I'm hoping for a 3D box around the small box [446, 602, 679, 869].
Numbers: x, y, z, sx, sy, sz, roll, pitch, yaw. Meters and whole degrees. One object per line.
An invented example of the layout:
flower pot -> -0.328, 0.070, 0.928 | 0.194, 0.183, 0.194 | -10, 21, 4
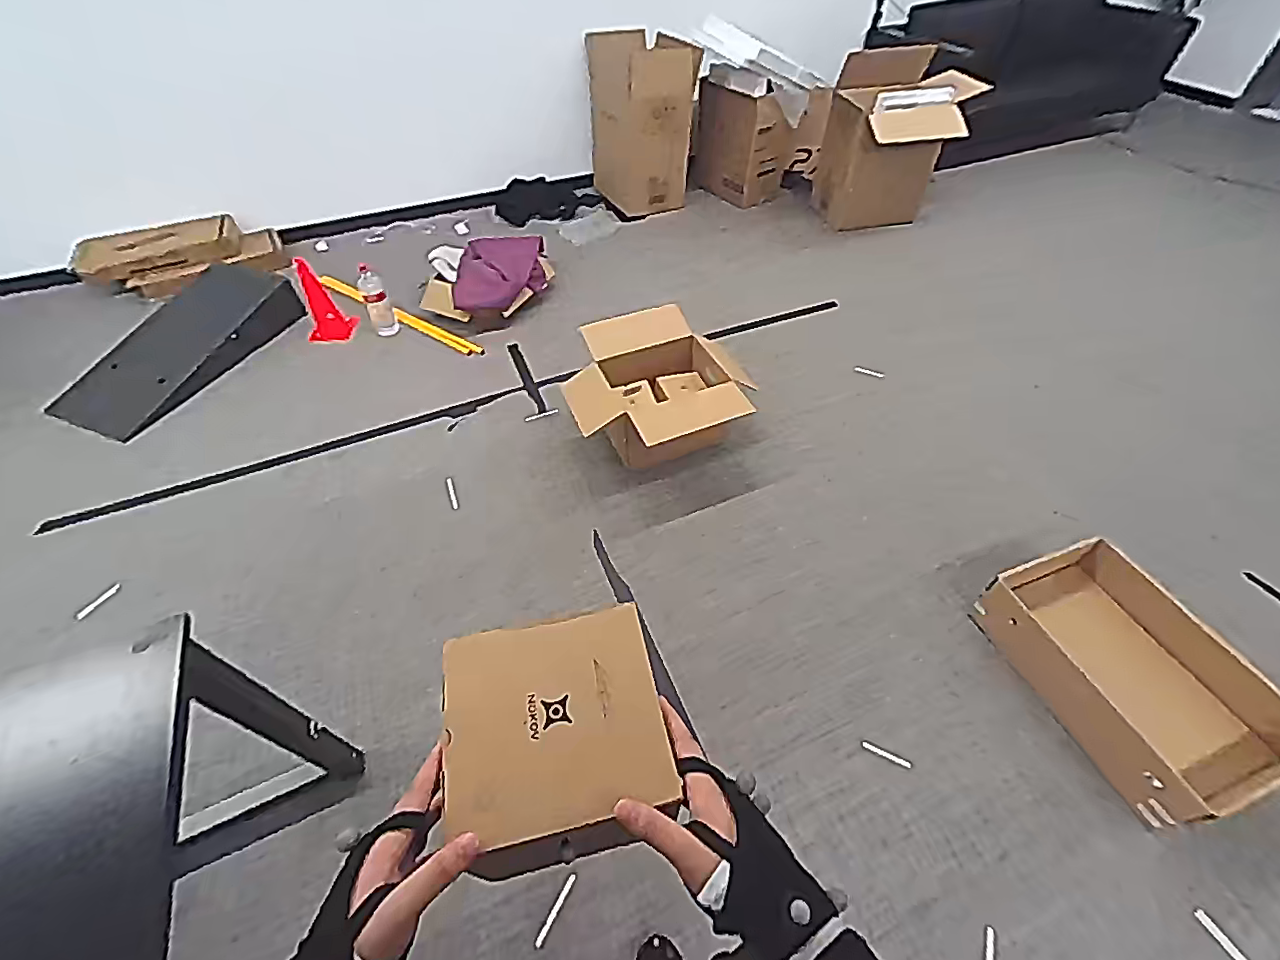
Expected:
small box -> -0.068, 0.241, 0.506 | 0.179, 0.176, 0.168 | -11, 52, -8
